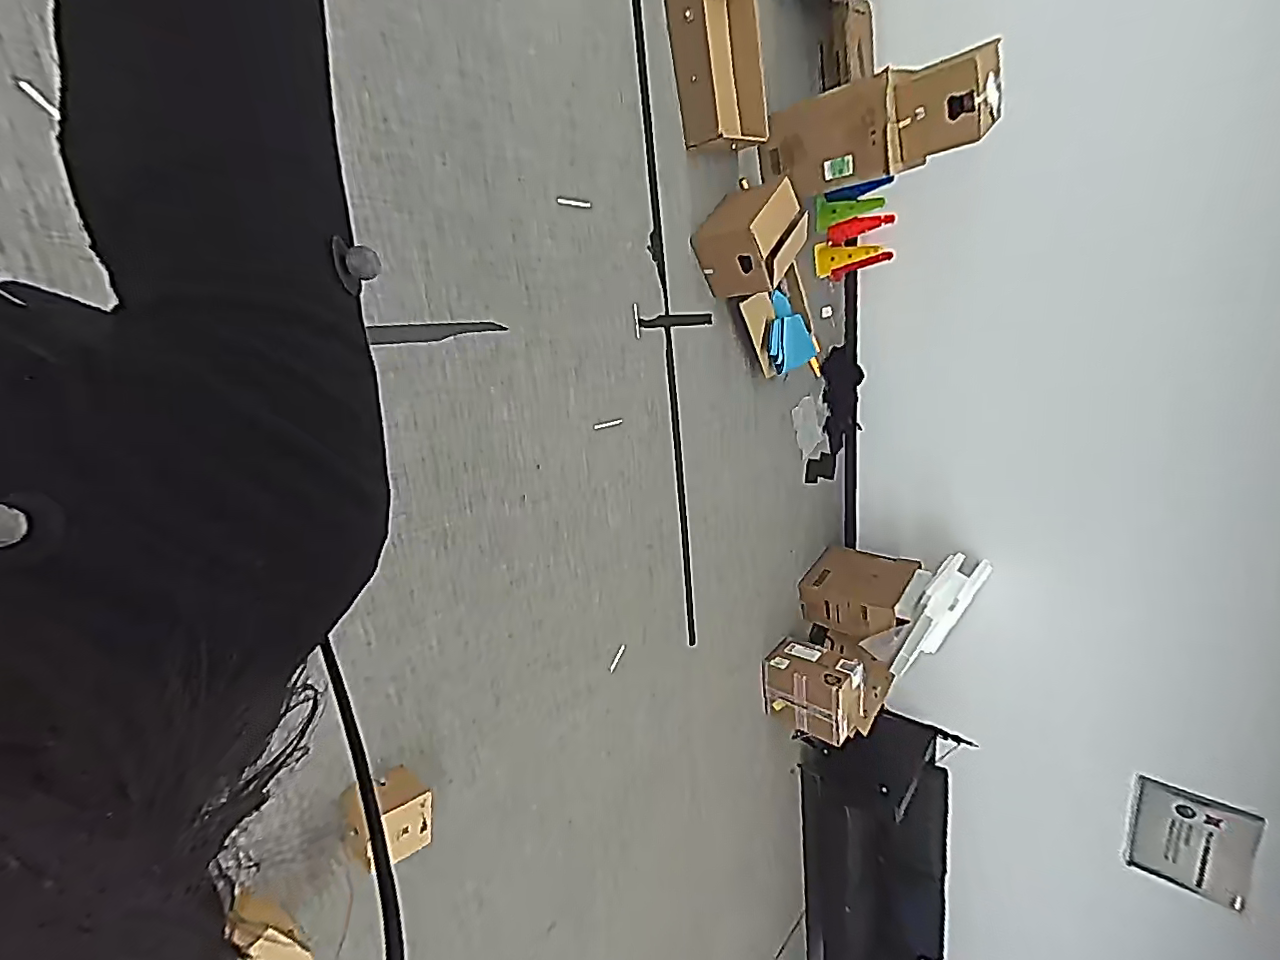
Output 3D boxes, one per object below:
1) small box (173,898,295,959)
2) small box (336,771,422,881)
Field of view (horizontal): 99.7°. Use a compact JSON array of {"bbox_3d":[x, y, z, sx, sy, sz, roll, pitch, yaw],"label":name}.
[{"bbox_3d":[-0.975,1.168,1.305,0.168,0.176,0.179,-43,125,-36],"label":"small box"},{"bbox_3d":[-0.745,0.973,1.539,0.179,0.176,0.168,-3,98,-48],"label":"small box"}]
